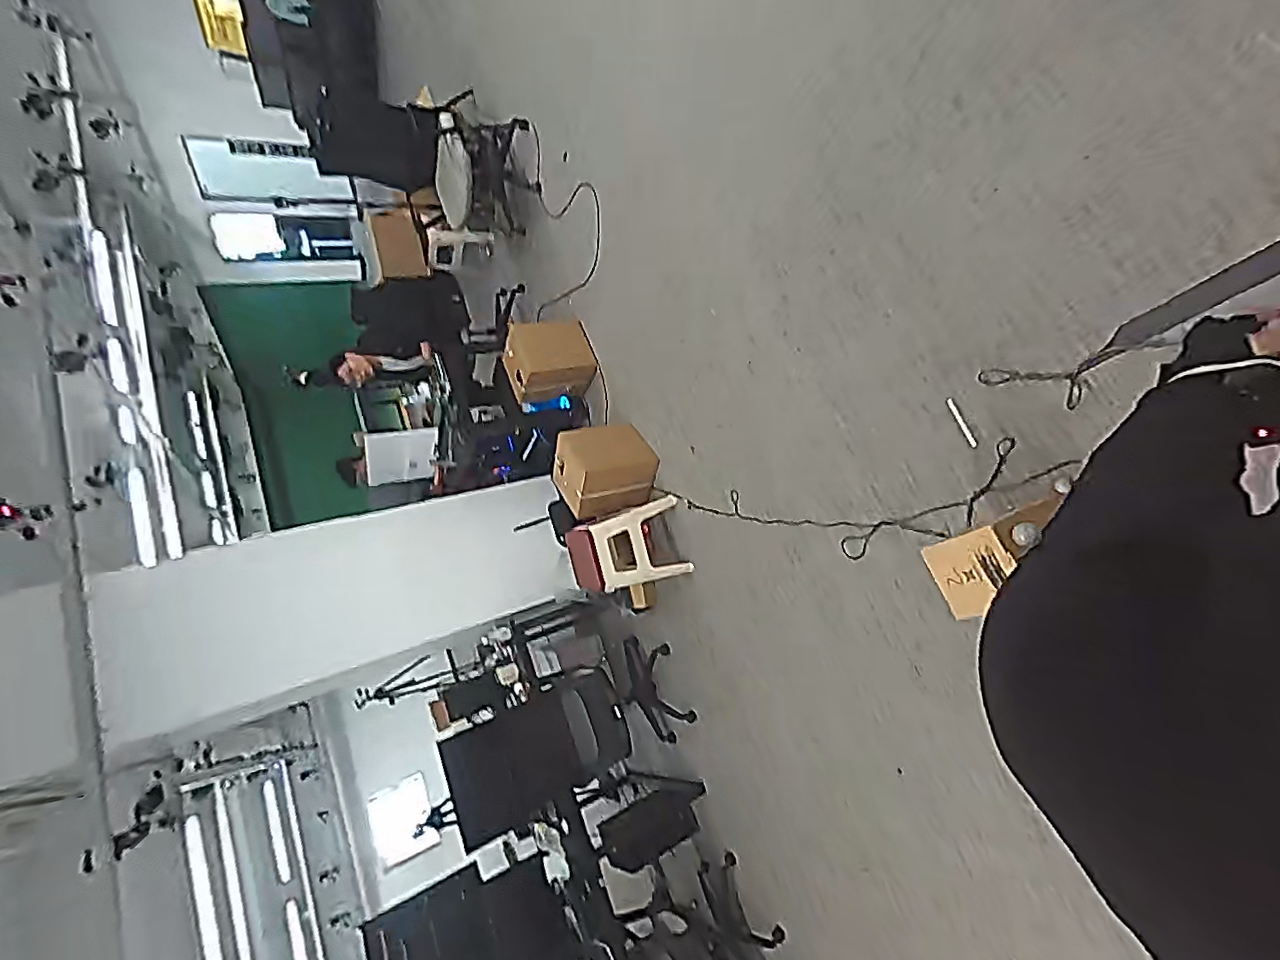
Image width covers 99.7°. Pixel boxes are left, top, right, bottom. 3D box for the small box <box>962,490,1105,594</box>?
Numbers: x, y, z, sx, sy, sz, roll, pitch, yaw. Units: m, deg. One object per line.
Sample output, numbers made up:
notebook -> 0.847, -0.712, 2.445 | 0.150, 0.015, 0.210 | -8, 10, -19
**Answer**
small box -> 0.887, 0.140, 1.222 | 0.179, 0.176, 0.168 | -46, 63, 55
